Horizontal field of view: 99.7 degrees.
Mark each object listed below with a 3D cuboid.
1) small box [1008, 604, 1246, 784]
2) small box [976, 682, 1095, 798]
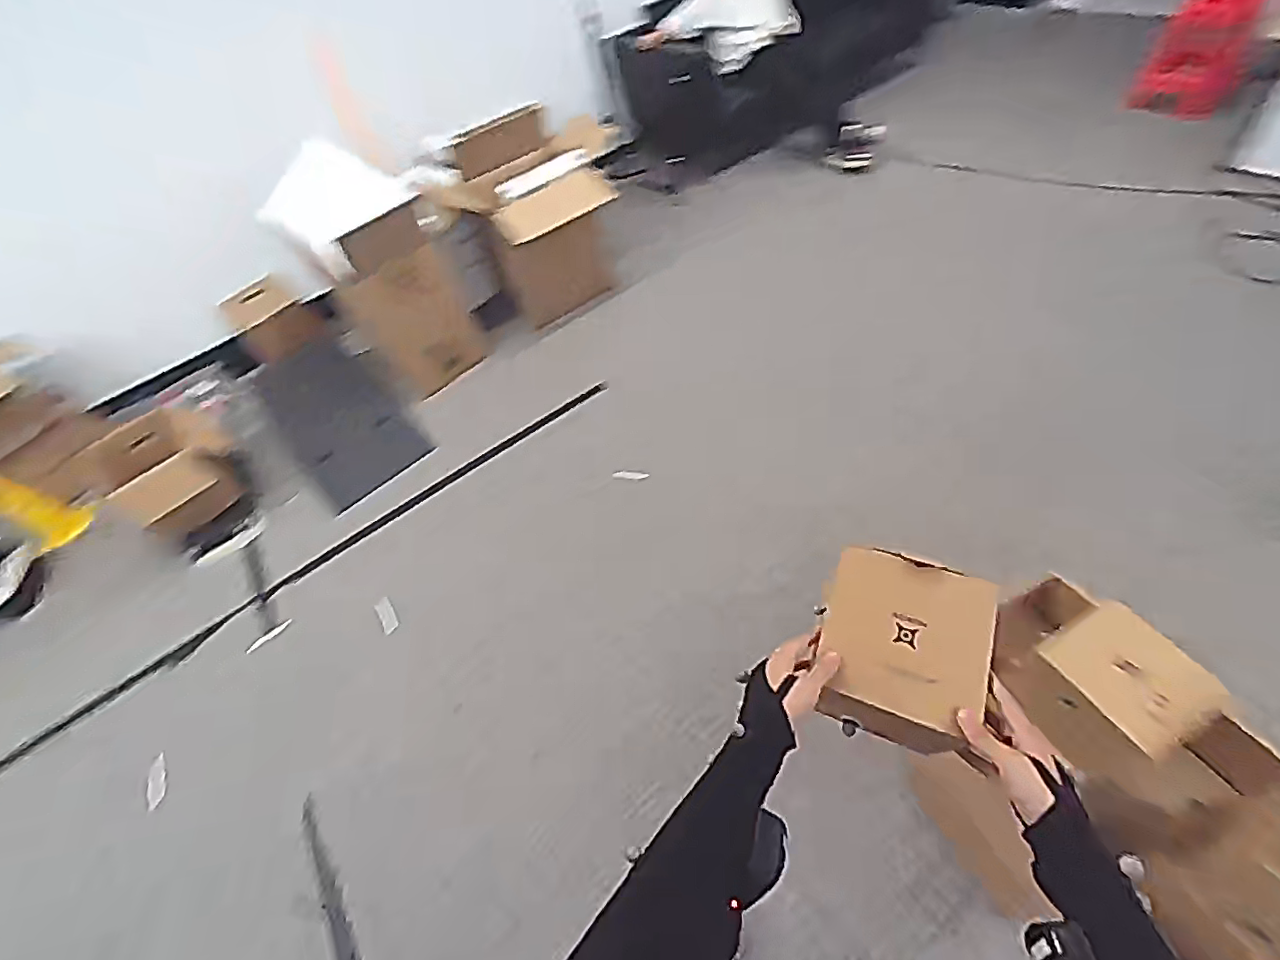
[{"bbox_3d":[0.715,0.328,0.823,0.168,0.176,0.179,-26,53,-9],"label":"small box"},{"bbox_3d":[0.732,0.428,0.953,0.179,0.176,0.168,-27,53,-11],"label":"small box"}]
